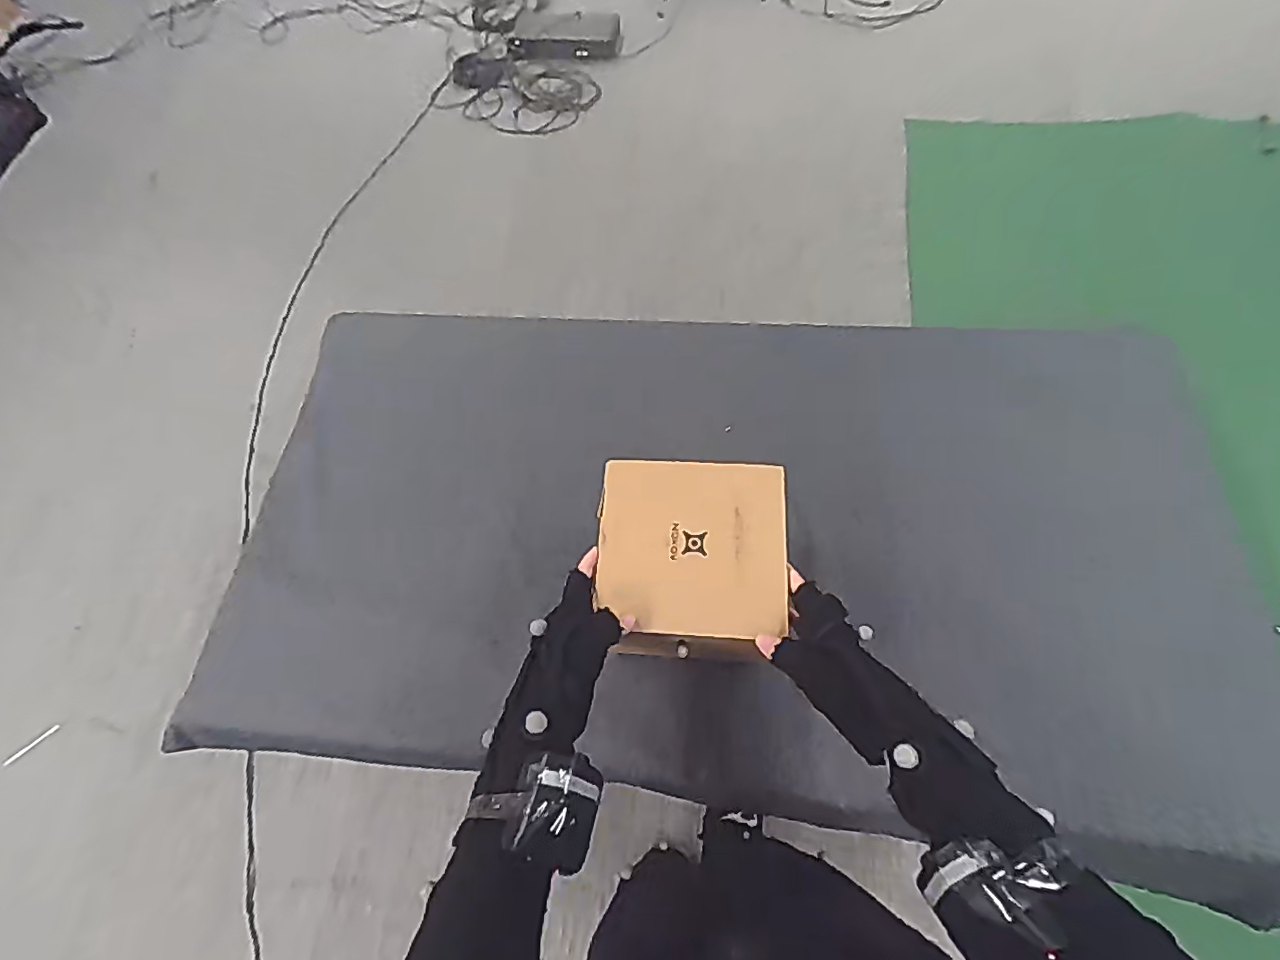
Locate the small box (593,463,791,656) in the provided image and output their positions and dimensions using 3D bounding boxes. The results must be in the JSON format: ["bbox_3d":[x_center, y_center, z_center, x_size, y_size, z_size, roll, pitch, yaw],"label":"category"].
[{"bbox_3d":[0.055,0.092,0.574,0.179,0.176,0.168,1,67,5],"label":"small box"}]
